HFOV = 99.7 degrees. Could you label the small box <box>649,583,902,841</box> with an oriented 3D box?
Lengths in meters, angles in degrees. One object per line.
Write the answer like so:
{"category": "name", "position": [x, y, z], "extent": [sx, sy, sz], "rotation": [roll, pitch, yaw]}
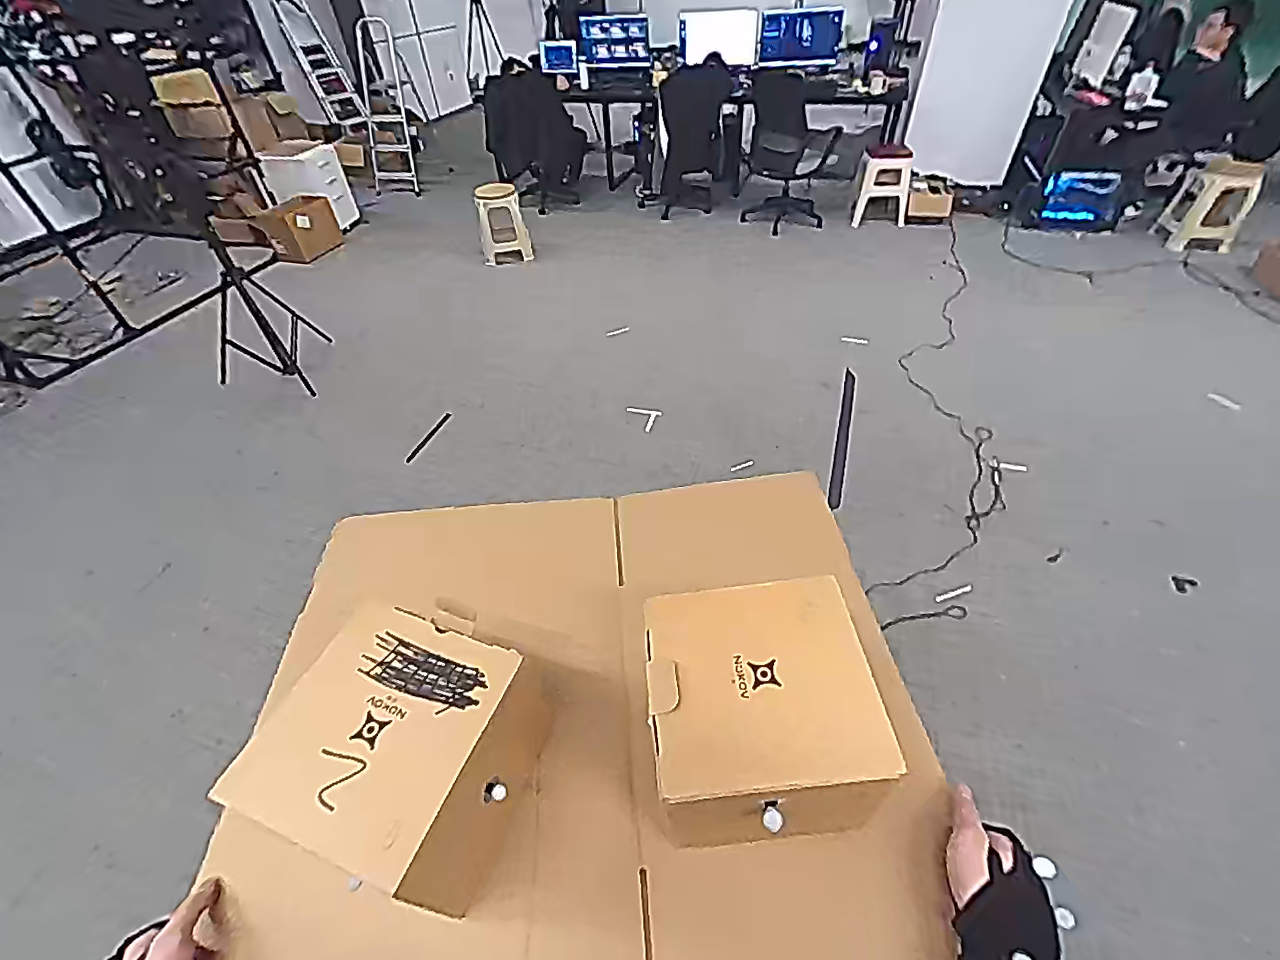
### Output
{"category": "small box", "position": [0.108, 0.218, 0.503], "extent": [0.179, 0.176, 0.168], "rotation": [-8, 46, 2]}
